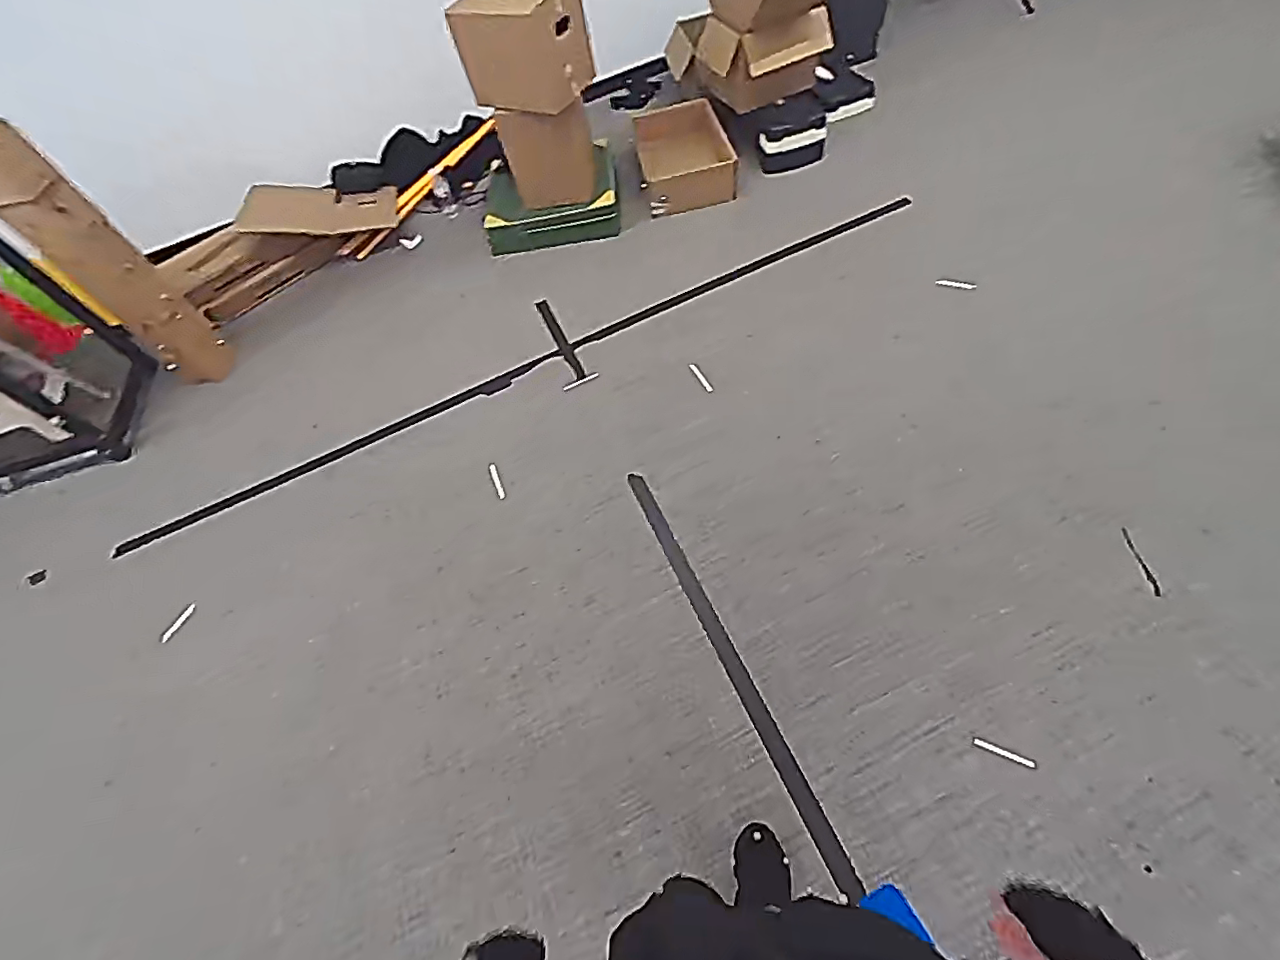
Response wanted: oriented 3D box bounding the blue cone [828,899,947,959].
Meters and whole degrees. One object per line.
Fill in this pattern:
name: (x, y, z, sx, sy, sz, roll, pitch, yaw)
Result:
blue cone: (0.461, 0.845, 0.882, 0.192, 0.380, 0.193, -29, 58, -10)
